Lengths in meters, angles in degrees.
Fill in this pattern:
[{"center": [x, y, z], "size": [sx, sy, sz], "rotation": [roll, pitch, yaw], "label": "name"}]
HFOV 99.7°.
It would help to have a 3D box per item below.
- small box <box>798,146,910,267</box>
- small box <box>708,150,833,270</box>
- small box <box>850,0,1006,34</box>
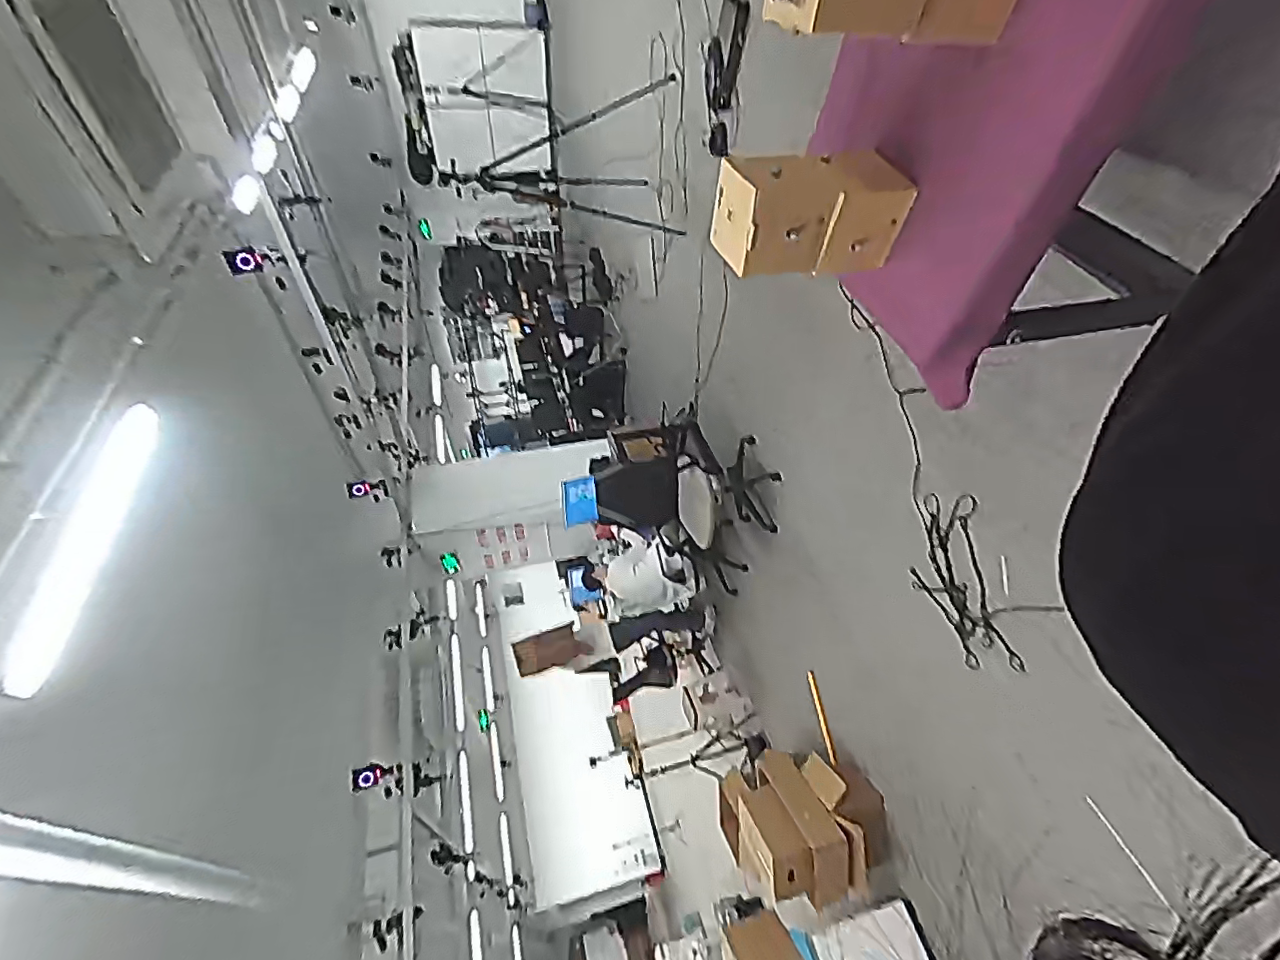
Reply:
[{"center": [0.414, -0.567, 1.113], "size": [0.168, 0.176, 0.179], "rotation": [98, 158, -53], "label": "small box"}, {"center": [0.254, -0.546, 1.080], "size": [0.168, 0.176, 0.179], "rotation": [96, 159, -48], "label": "small box"}, {"center": [0.450, -0.788, 0.792], "size": [0.179, 0.176, 0.168], "rotation": [97, 159, -52], "label": "small box"}]
